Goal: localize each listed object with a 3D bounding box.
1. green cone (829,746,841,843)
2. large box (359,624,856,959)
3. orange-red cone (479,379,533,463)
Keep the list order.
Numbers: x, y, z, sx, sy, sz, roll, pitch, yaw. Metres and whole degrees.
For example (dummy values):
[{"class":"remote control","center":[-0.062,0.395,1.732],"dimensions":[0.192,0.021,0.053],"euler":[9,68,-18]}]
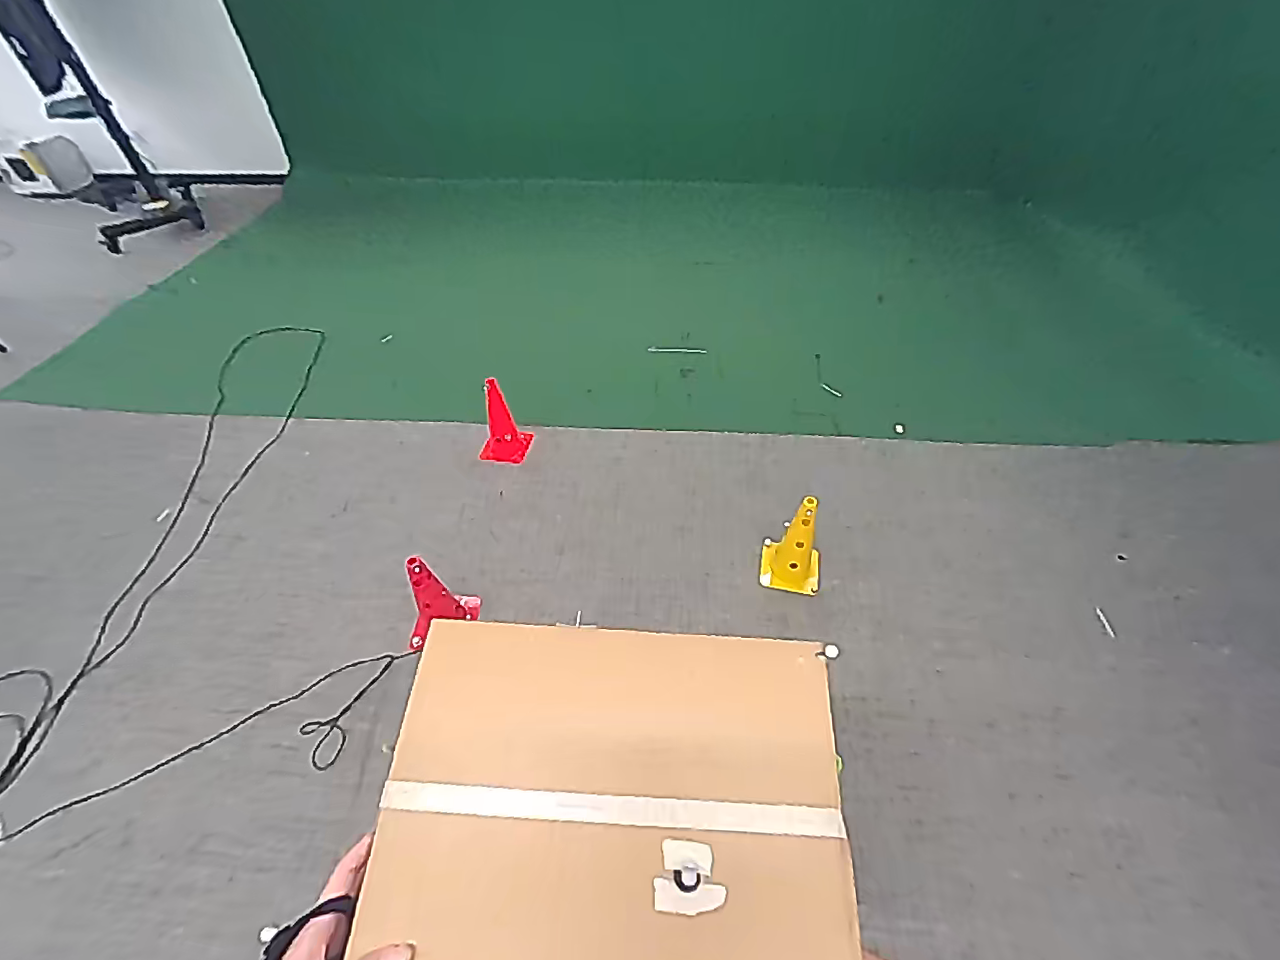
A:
[{"class":"green cone","center":[0.423,0.731,1.302],"dimensions":[0.200,0.368,0.202],"euler":[7,45,7]},{"class":"large box","center":[-0.024,0.368,0.614],"dimensions":[0.408,0.320,0.320],"euler":[3,59,1]},{"class":"orange-red cone","center":[-0.597,-0.266,2.268],"dimensions":[0.199,0.360,0.198],"euler":[7,46,9]}]
